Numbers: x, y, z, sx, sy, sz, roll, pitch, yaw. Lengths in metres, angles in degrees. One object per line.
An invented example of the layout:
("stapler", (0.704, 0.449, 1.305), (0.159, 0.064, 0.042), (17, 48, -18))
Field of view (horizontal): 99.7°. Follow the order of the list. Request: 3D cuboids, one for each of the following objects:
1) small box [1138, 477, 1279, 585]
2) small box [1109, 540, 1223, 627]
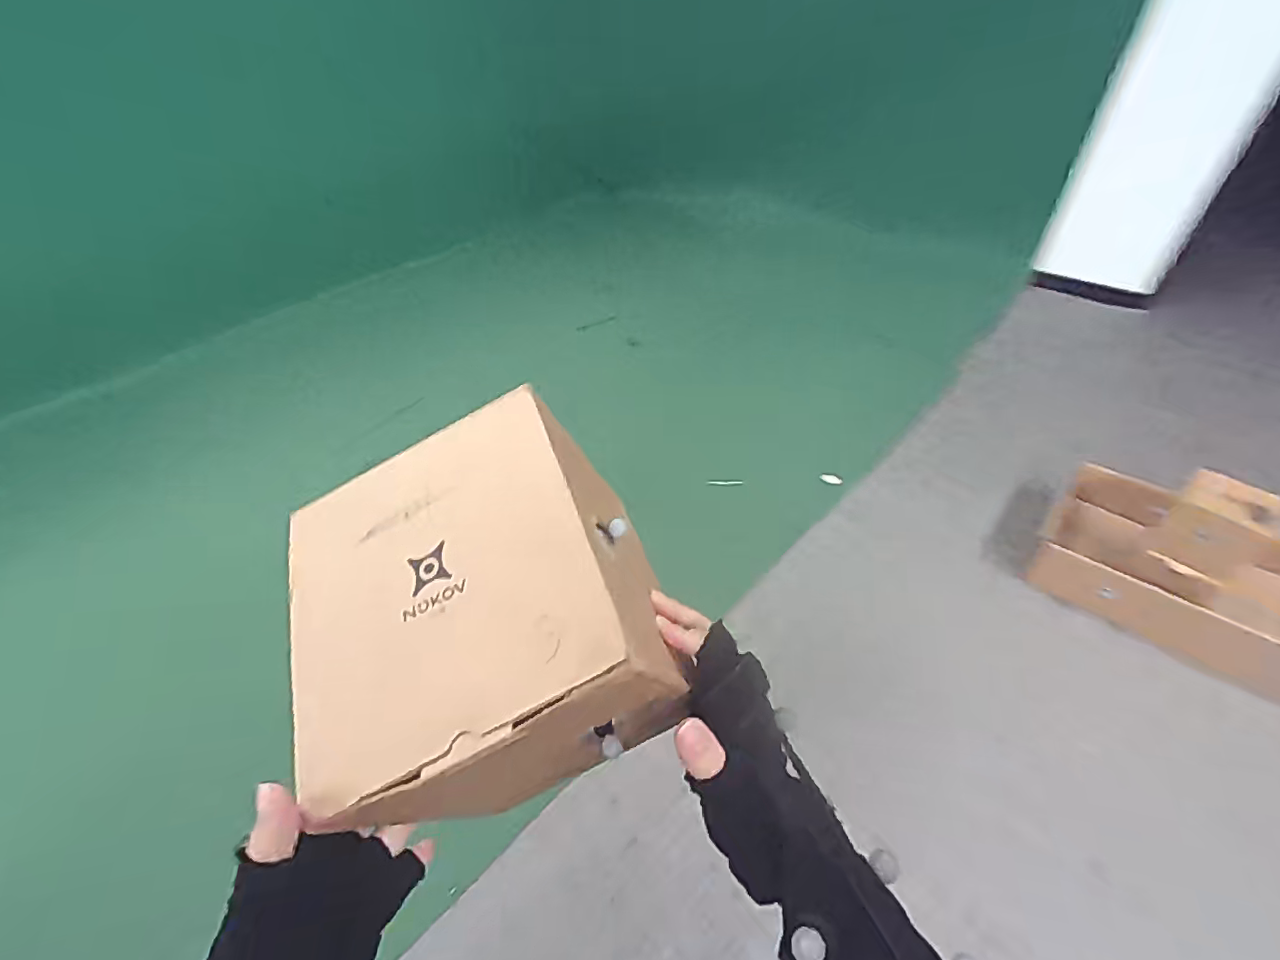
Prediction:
("small box", (1.393, 0.132, 1.323), (0.168, 0.176, 0.179), (-32, 50, -26))
("small box", (1.399, 0.253, 1.433), (0.179, 0.176, 0.168), (-35, 53, -26))
